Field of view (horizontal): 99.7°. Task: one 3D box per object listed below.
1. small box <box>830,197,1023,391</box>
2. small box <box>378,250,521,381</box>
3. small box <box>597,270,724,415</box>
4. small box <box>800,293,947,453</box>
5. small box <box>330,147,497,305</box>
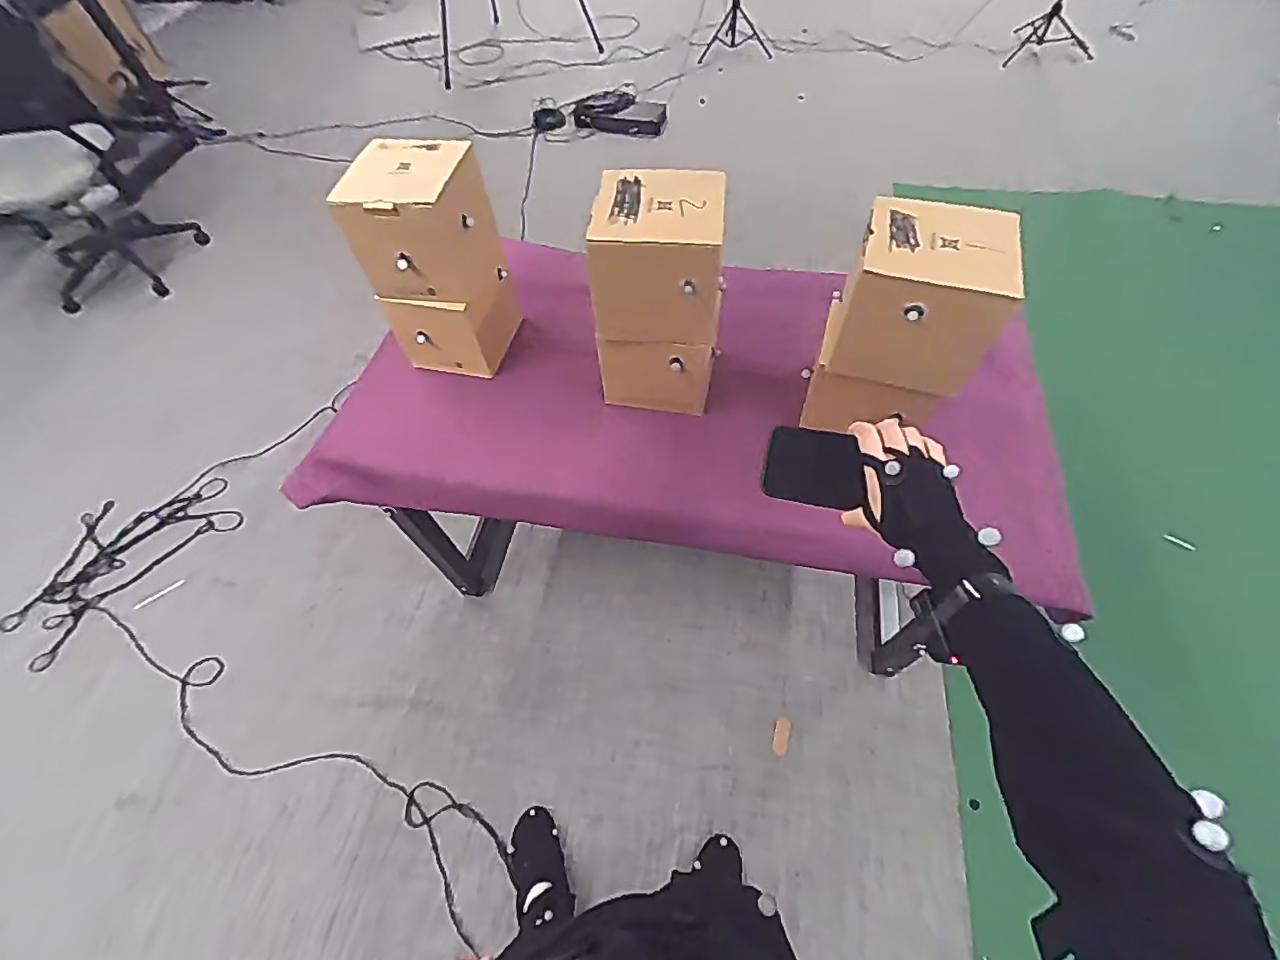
[{"bbox_3d":[0.364,-0.240,0.712,0.179,0.176,0.168,14,59,12],"label":"small box"},{"bbox_3d":[-0.336,-0.305,0.998,0.168,0.176,0.179,9,58,10],"label":"small box"},{"bbox_3d":[0.040,-0.229,0.921,0.179,0.176,0.168,9,58,10],"label":"small box"},{"bbox_3d":[0.368,-0.164,0.858,0.179,0.176,0.168,14,59,14],"label":"small box"},{"bbox_3d":[-0.344,-0.402,0.865,0.168,0.176,0.179,5,58,7],"label":"small box"}]
